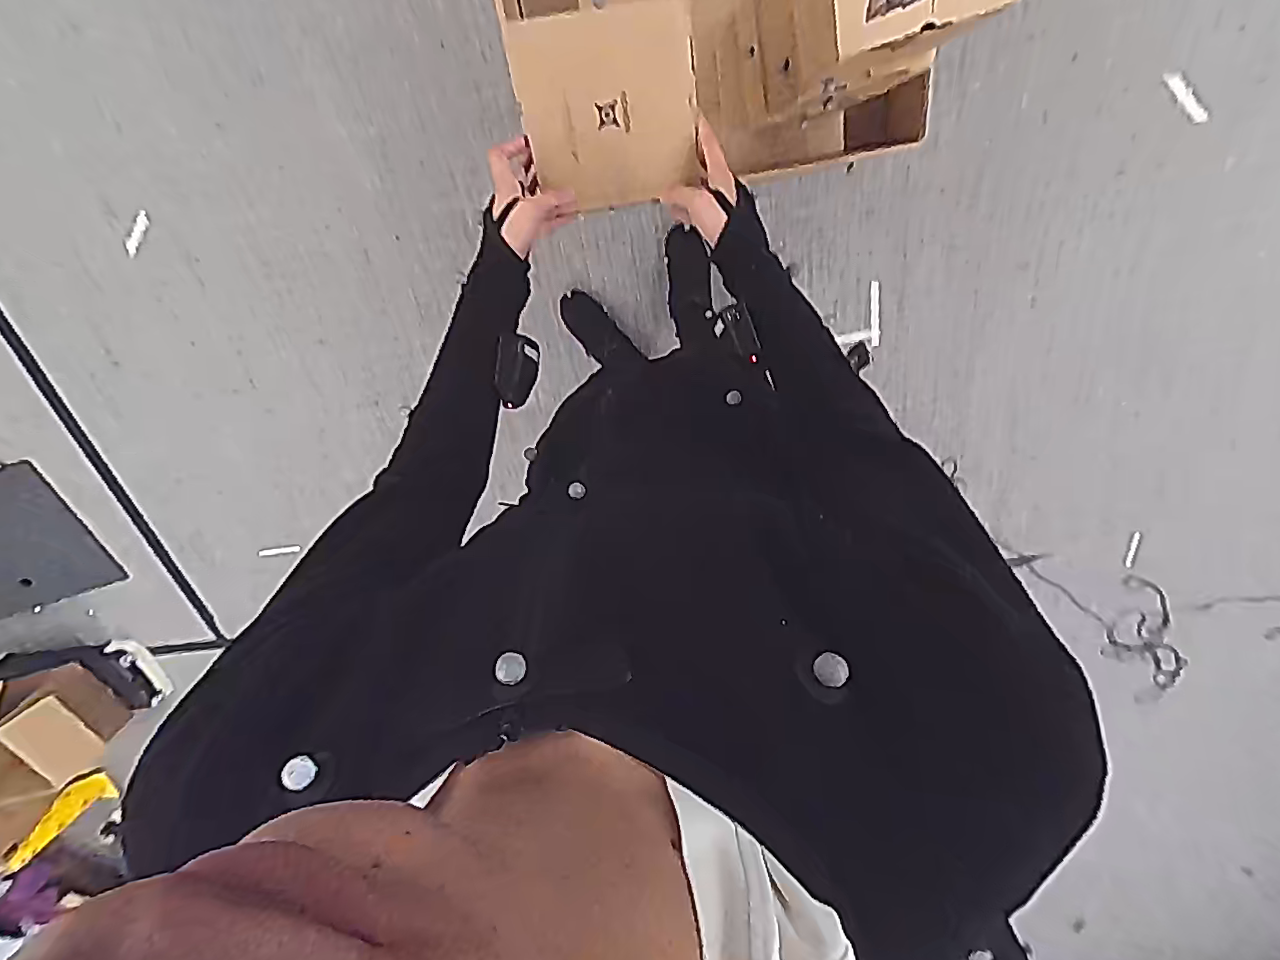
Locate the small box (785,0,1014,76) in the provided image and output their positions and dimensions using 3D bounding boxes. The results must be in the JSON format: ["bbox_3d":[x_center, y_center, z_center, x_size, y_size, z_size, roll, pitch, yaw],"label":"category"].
[{"bbox_3d":[0.242,-0.525,0.528,0.168,0.176,0.179,-13,117,7],"label":"small box"}]

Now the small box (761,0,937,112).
[{"bbox_3d":[0.253,-0.592,0.679,0.168,0.176,0.179,-10,118,6],"label":"small box"}]

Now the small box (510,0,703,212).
[{"bbox_3d":[-0.034,-0.413,0.602,0.179,0.176,0.168,-9,125,0],"label":"small box"}]
